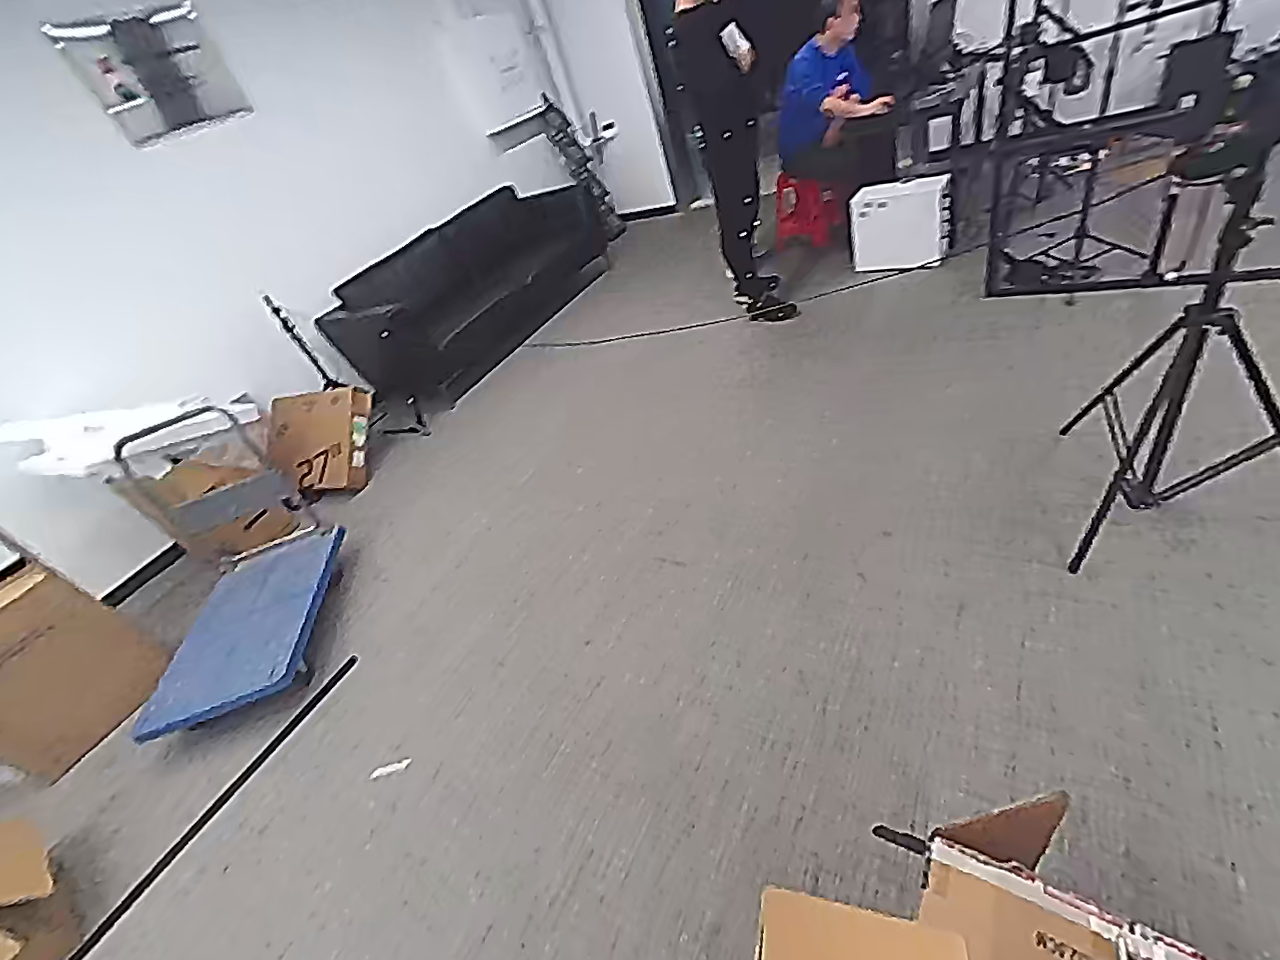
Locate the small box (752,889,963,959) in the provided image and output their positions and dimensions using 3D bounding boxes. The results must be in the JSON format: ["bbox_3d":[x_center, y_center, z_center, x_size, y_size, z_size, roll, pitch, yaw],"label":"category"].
[{"bbox_3d":[0.184,0.508,0.477,0.179,0.176,0.168,3,34,15],"label":"small box"}]
